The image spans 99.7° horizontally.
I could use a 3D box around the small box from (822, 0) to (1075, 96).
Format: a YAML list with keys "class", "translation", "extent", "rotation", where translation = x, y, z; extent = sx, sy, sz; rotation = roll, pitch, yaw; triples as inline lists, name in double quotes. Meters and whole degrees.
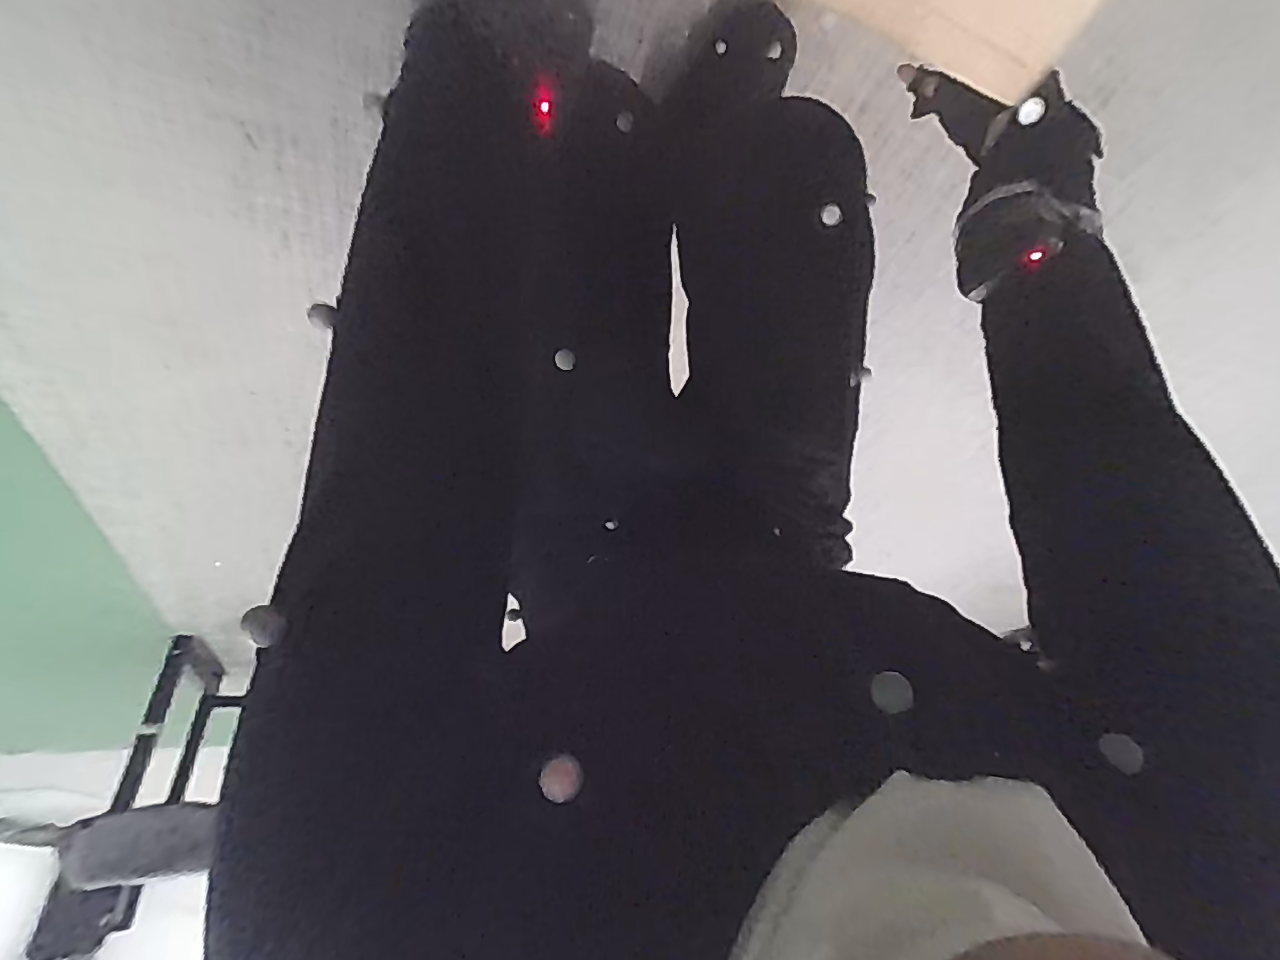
- class: "small box"
  translation: [0.138, -0.331, 0.251]
  extent: [0.179, 0.176, 0.168]
  rotation: [9, 144, -20]
